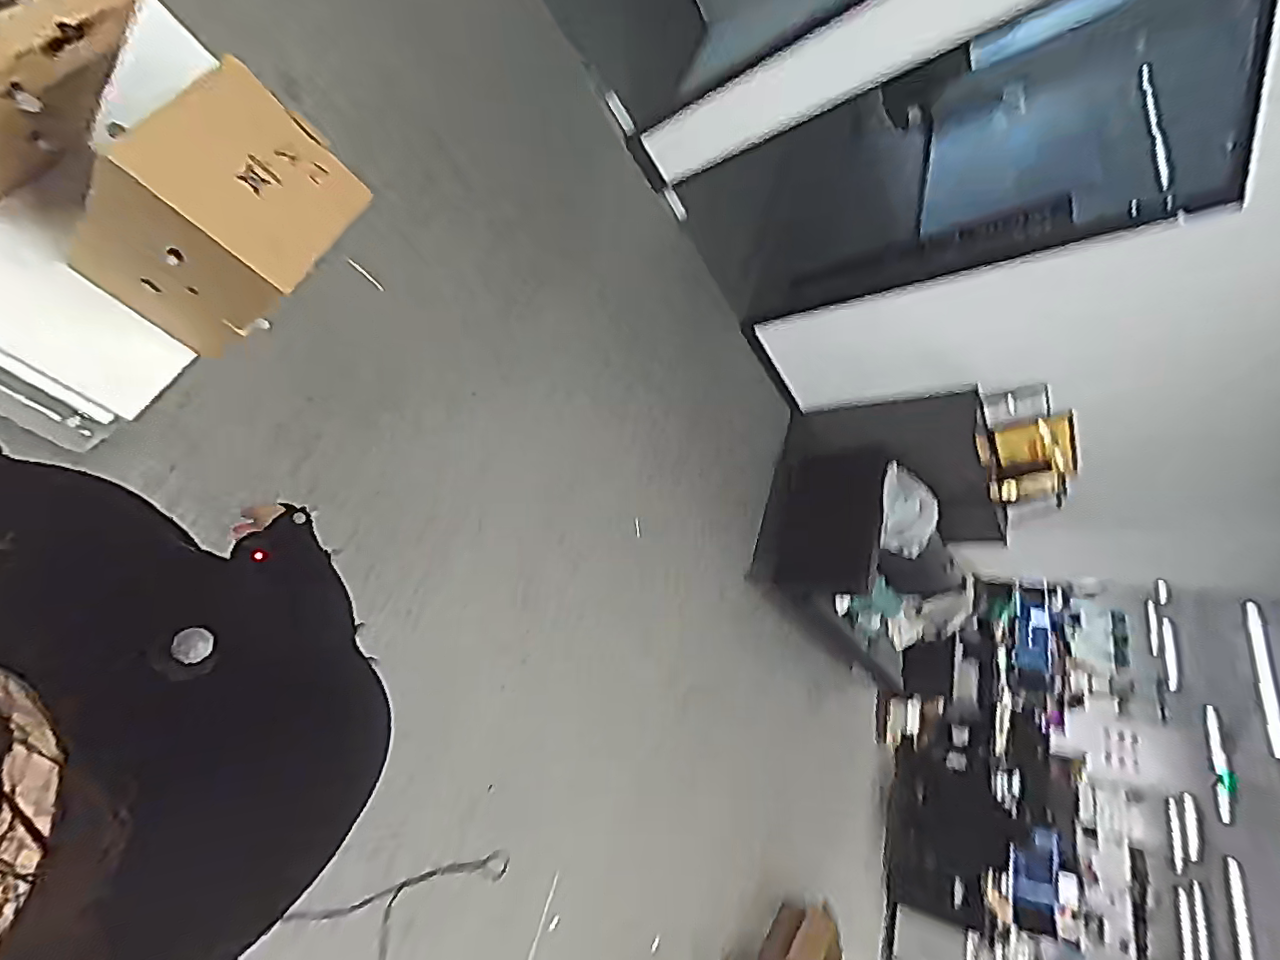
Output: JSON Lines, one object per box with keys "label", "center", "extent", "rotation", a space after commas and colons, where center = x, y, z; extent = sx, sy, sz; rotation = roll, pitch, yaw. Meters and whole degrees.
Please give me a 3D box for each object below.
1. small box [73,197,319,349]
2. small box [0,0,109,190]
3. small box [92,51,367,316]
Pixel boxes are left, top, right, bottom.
{"label": "small box", "center": [-0.580, -0.298, 0.710], "extent": [0.179, 0.176, 0.168], "rotation": [47, 54, -38]}
{"label": "small box", "center": [-0.717, -0.428, 0.550], "extent": [0.179, 0.176, 0.168], "rotation": [49, 53, -40]}
{"label": "small box", "center": [-0.455, -0.312, 0.604], "extent": [0.168, 0.176, 0.179], "rotation": [45, 54, -39]}
